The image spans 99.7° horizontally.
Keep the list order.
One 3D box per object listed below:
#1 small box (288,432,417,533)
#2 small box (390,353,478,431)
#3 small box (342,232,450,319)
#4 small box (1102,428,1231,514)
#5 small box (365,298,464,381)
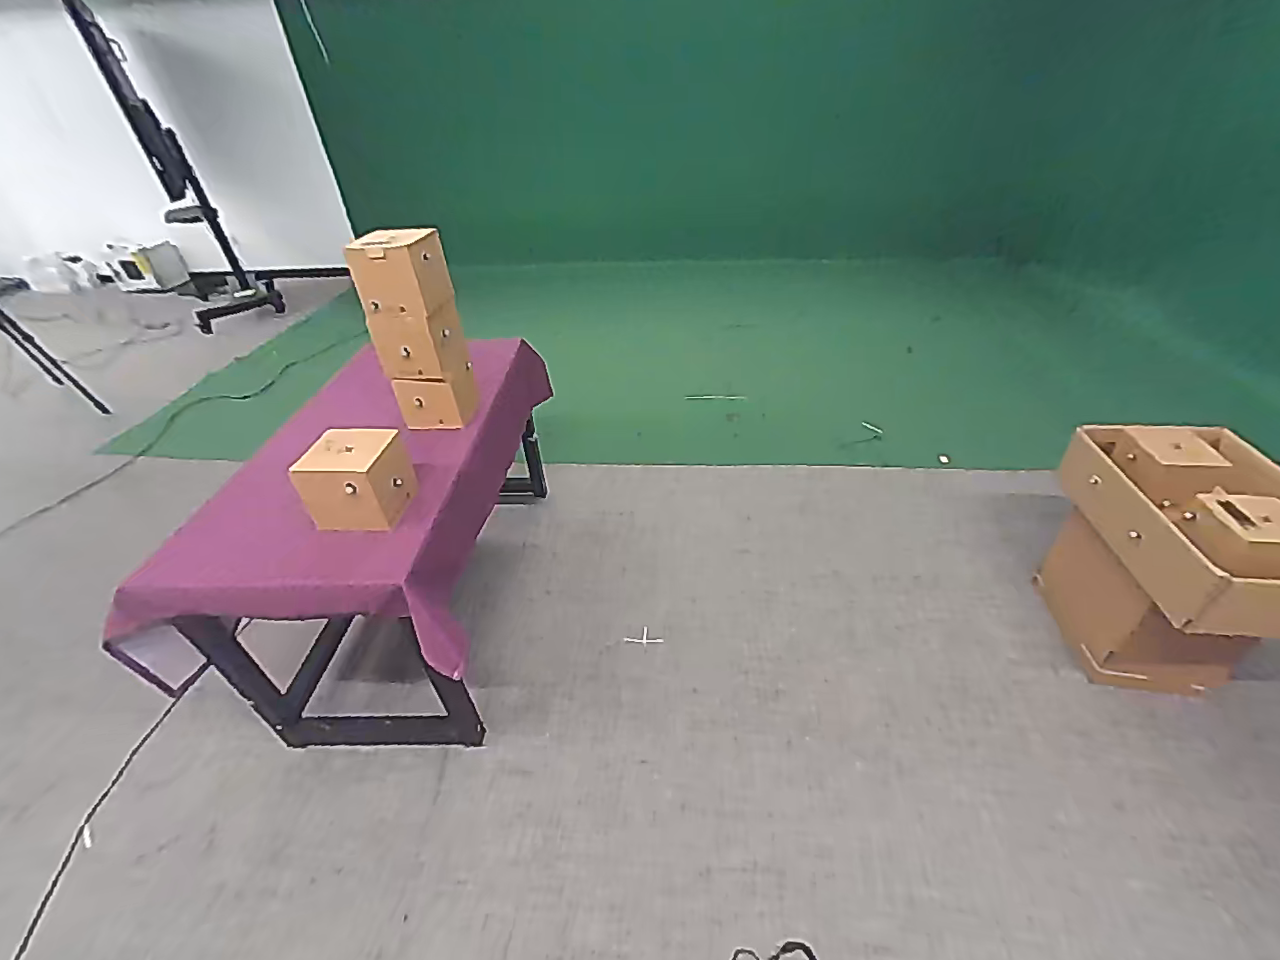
[{"bbox_3d":[-0.636,0.007,1.227,0.179,0.176,0.168,0,37,6],"label":"small box"},{"bbox_3d":[-0.585,-0.252,1.563,0.168,0.176,0.179,-1,37,4],"label":"small box"},{"bbox_3d":[-0.602,-0.514,1.364,0.168,0.176,0.179,1,36,7],"label":"small box"},{"bbox_3d":[1.451,-0.026,1.509,0.168,0.176,0.179,2,39,9],"label":"small box"},{"bbox_3d":[-0.595,-0.378,1.458,0.168,0.176,0.179,2,38,7],"label":"small box"}]
